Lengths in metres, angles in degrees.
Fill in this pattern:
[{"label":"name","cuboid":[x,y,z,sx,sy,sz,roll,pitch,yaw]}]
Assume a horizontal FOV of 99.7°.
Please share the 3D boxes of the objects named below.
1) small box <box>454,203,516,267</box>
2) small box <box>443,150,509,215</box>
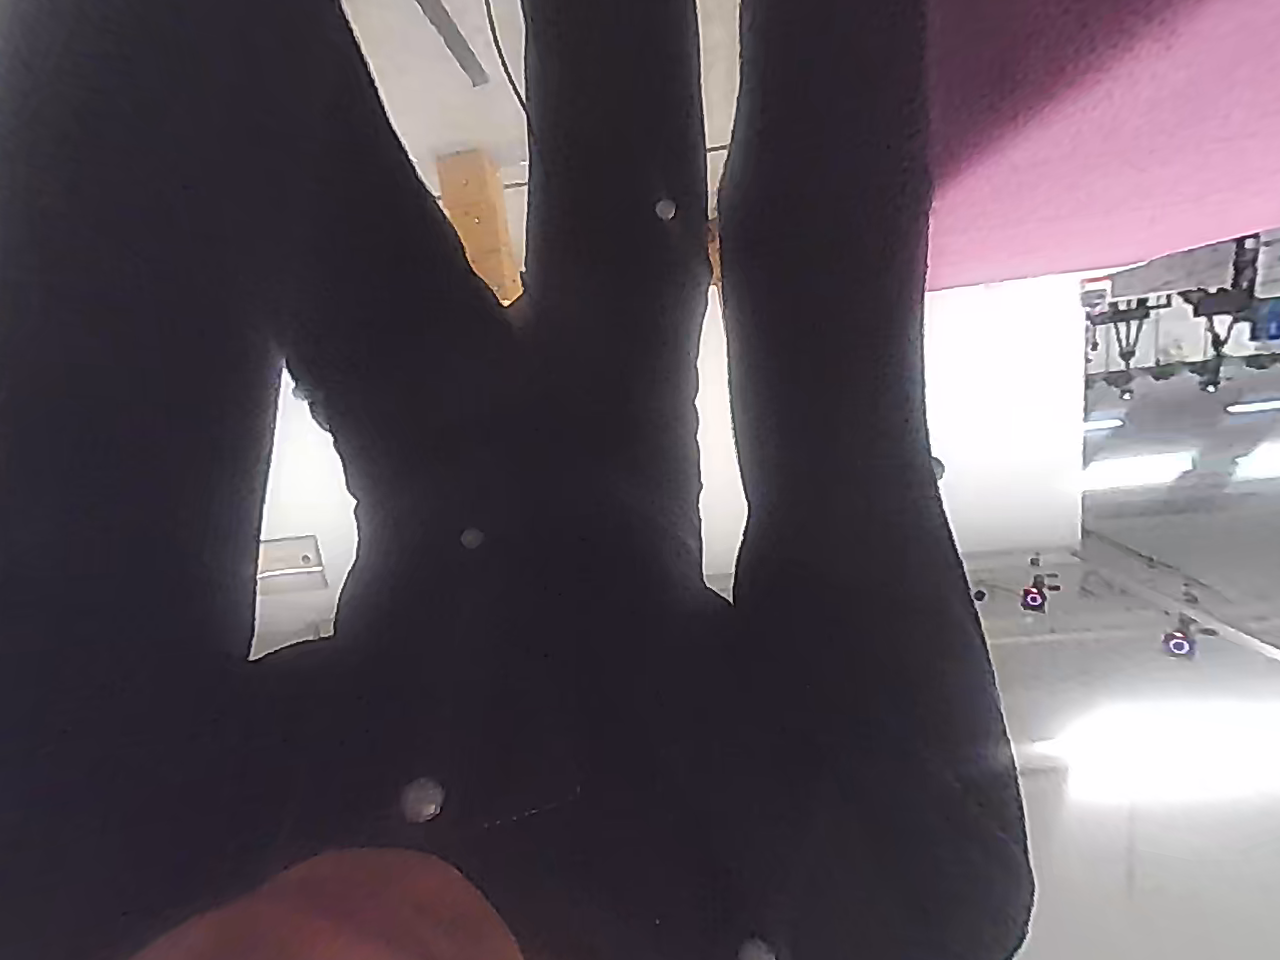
[{"label":"small box","cuboid":[-0.562,-0.891,1.971,0.168,0.176,0.179,-6,-170,3]},{"label":"small box","cuboid":[-0.586,-1.047,1.930,0.179,0.176,0.168,-6,-169,7]}]
